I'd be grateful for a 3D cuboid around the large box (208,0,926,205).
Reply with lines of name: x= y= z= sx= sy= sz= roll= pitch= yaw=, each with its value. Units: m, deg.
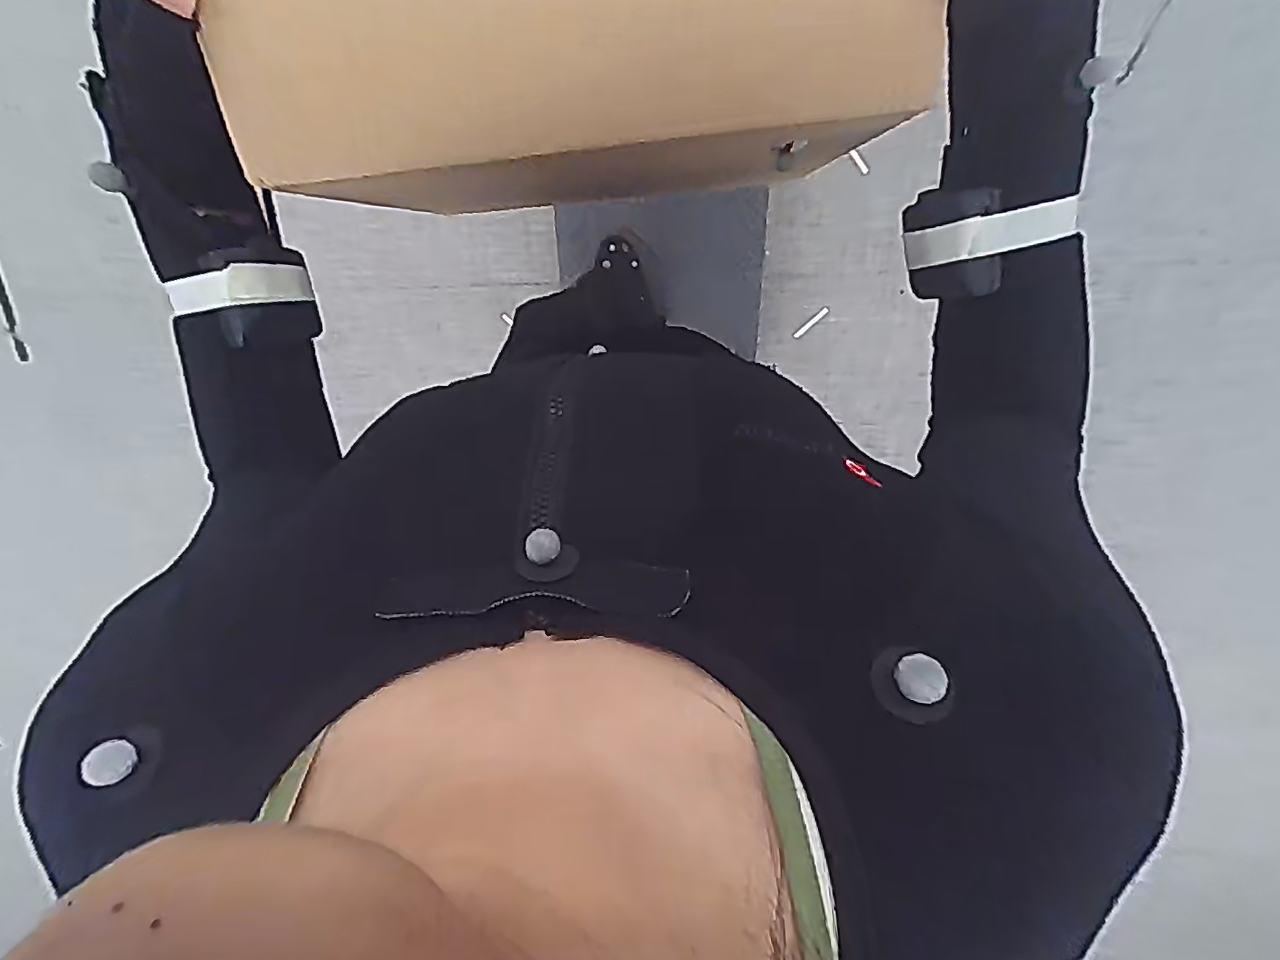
large box: x=-0.044 y=-0.402 z=0.402 sx=0.408 sy=0.320 sz=0.320 roll=-4 pitch=113 yaw=5
